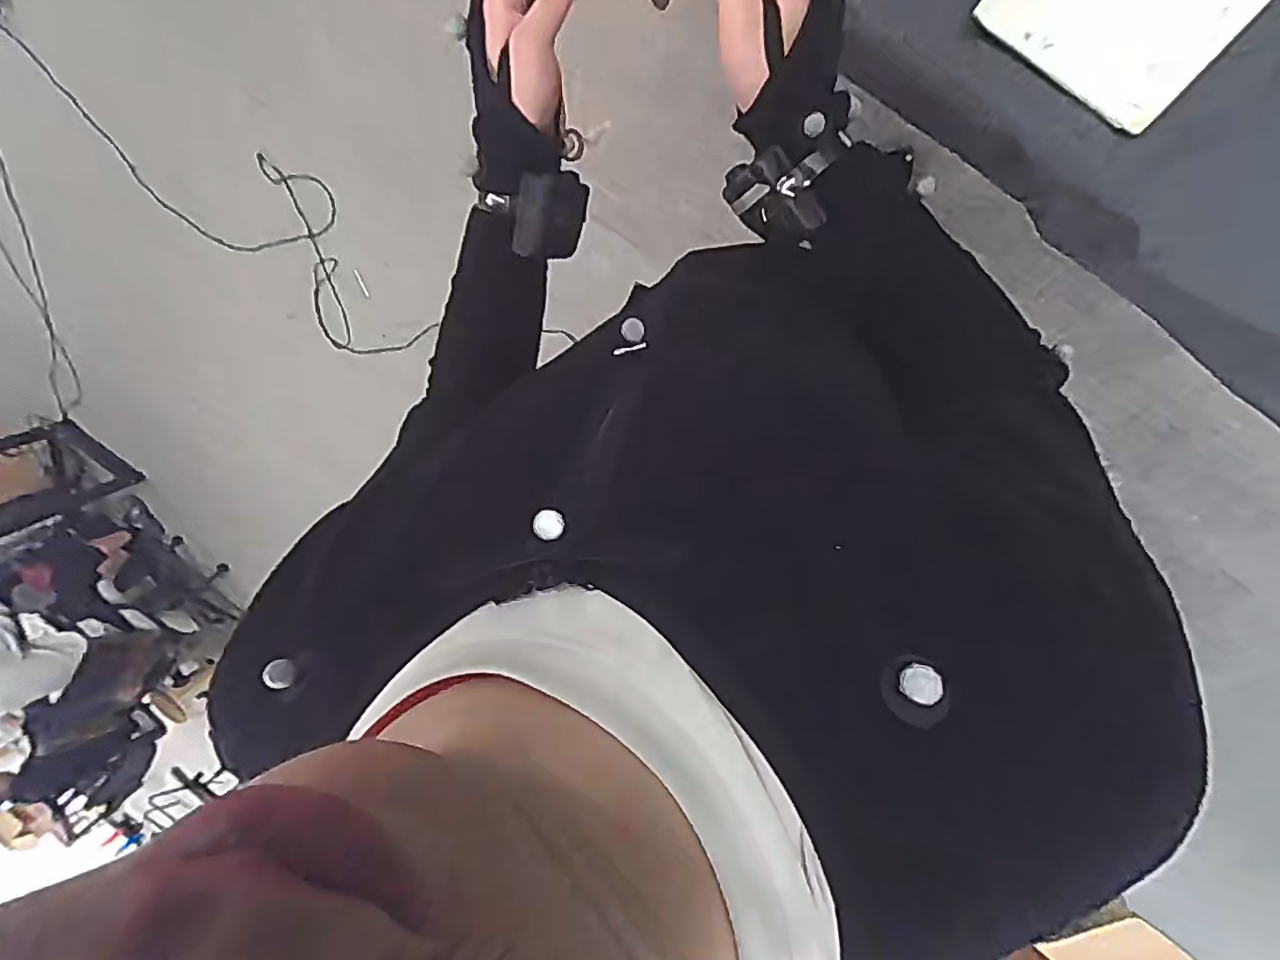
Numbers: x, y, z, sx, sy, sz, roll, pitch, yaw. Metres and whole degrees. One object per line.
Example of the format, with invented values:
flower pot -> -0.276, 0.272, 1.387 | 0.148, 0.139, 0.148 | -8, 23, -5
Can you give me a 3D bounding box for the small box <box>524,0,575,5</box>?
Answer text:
small box -> 0.006, -0.428, 0.342 | 0.168, 0.176, 0.179 | 2, 131, 11
